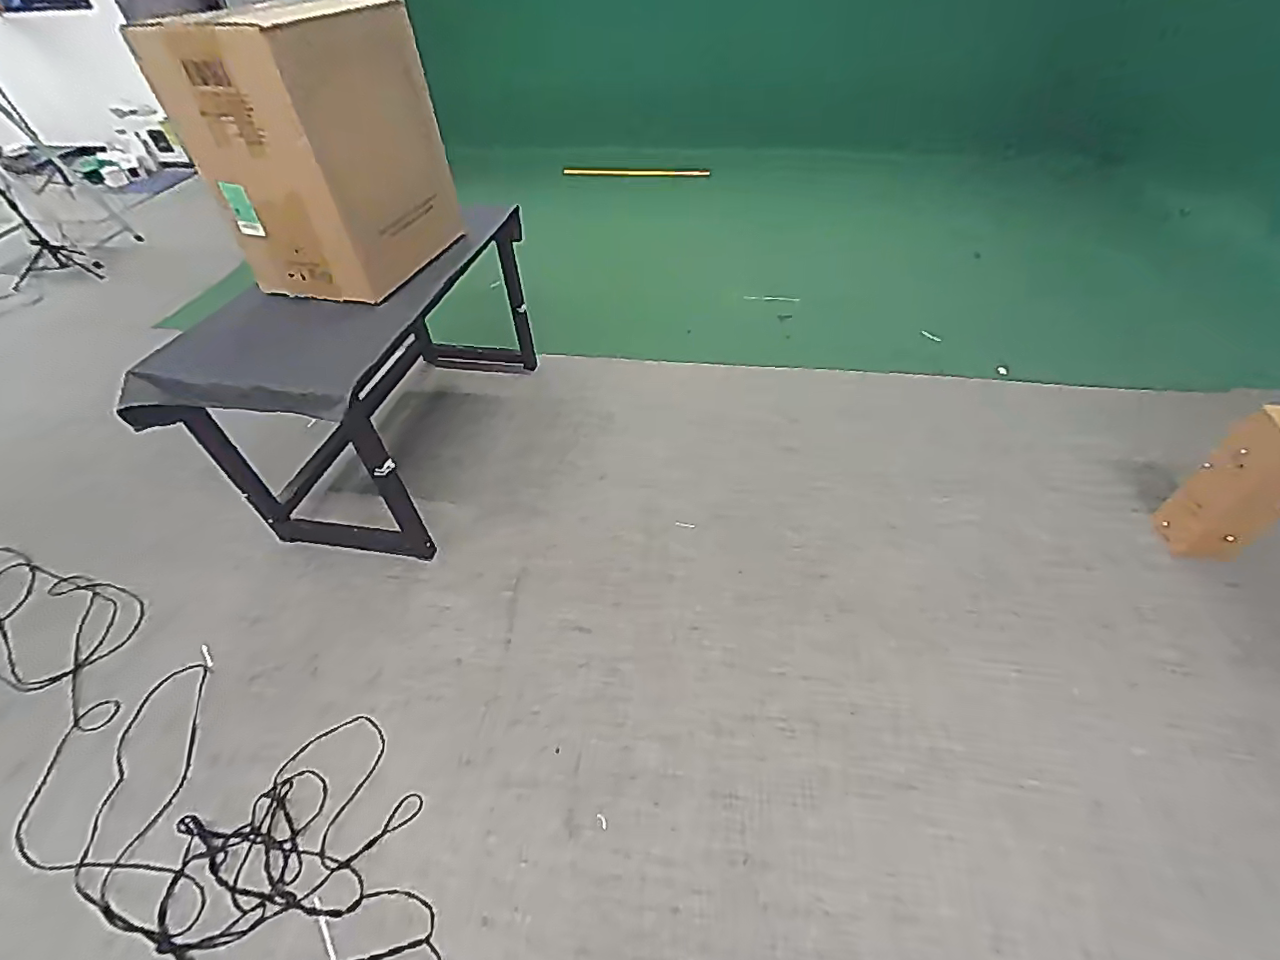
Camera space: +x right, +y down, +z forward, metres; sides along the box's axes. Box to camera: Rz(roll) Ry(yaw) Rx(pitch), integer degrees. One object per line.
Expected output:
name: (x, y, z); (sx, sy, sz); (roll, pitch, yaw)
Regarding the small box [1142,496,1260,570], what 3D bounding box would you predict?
small box: (1.813, 0.175, 1.760); (0.179, 0.176, 0.168); (5, 46, 7)
